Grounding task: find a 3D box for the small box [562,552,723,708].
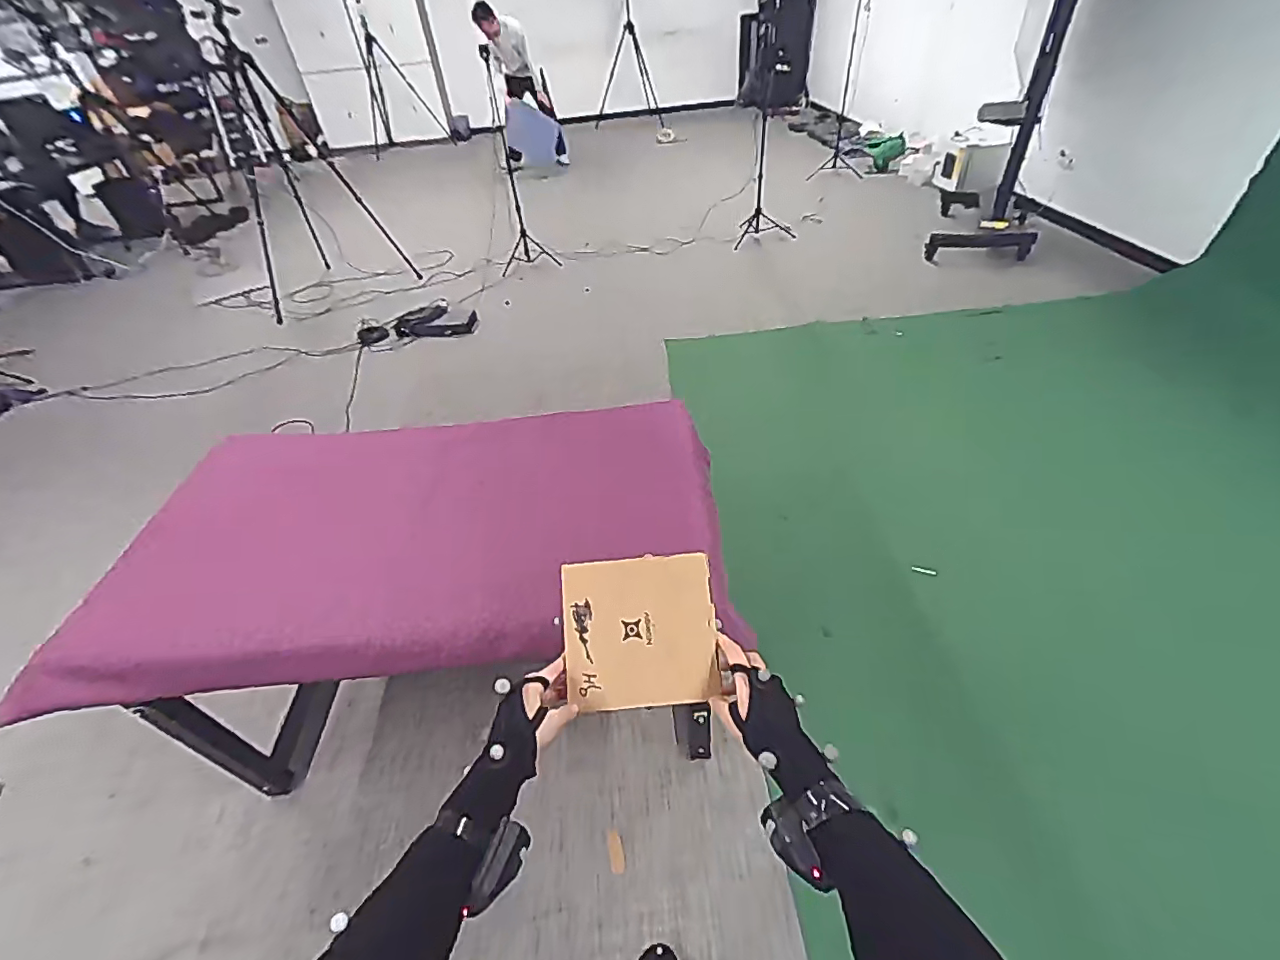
[{"bbox_3d":[0.001,0.189,0.695,0.179,0.176,0.168,-5,74,0],"label":"small box"}]
